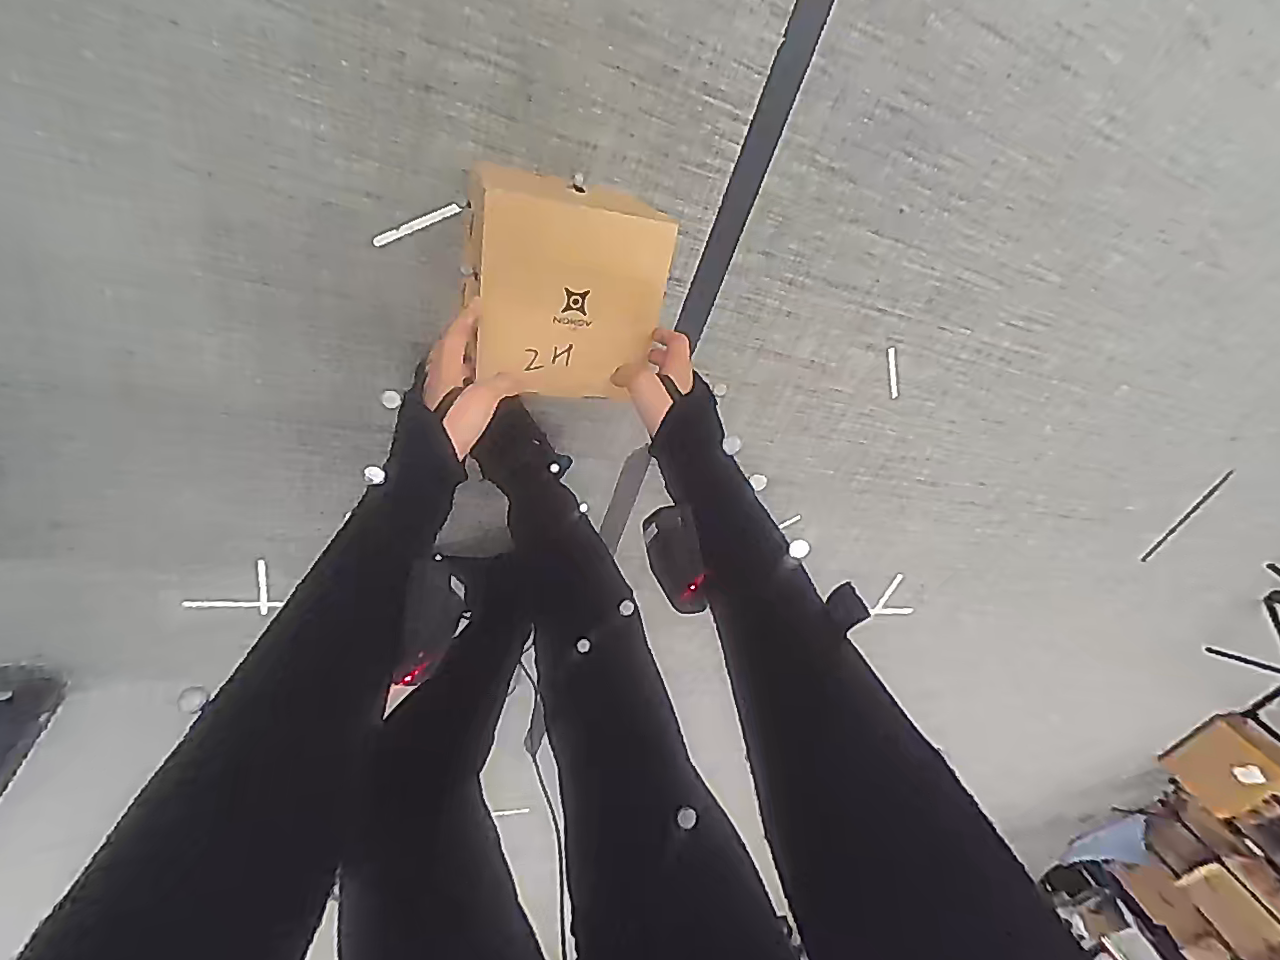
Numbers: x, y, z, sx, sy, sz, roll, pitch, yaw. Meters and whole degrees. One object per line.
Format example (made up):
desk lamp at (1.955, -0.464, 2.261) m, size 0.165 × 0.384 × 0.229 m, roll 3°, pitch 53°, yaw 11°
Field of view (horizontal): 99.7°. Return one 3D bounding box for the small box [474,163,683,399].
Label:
small box at (-0.077, -0.203, 0.549) m, size 0.168 × 0.176 × 0.179 m, roll 2°, pitch 125°, yaw -20°
